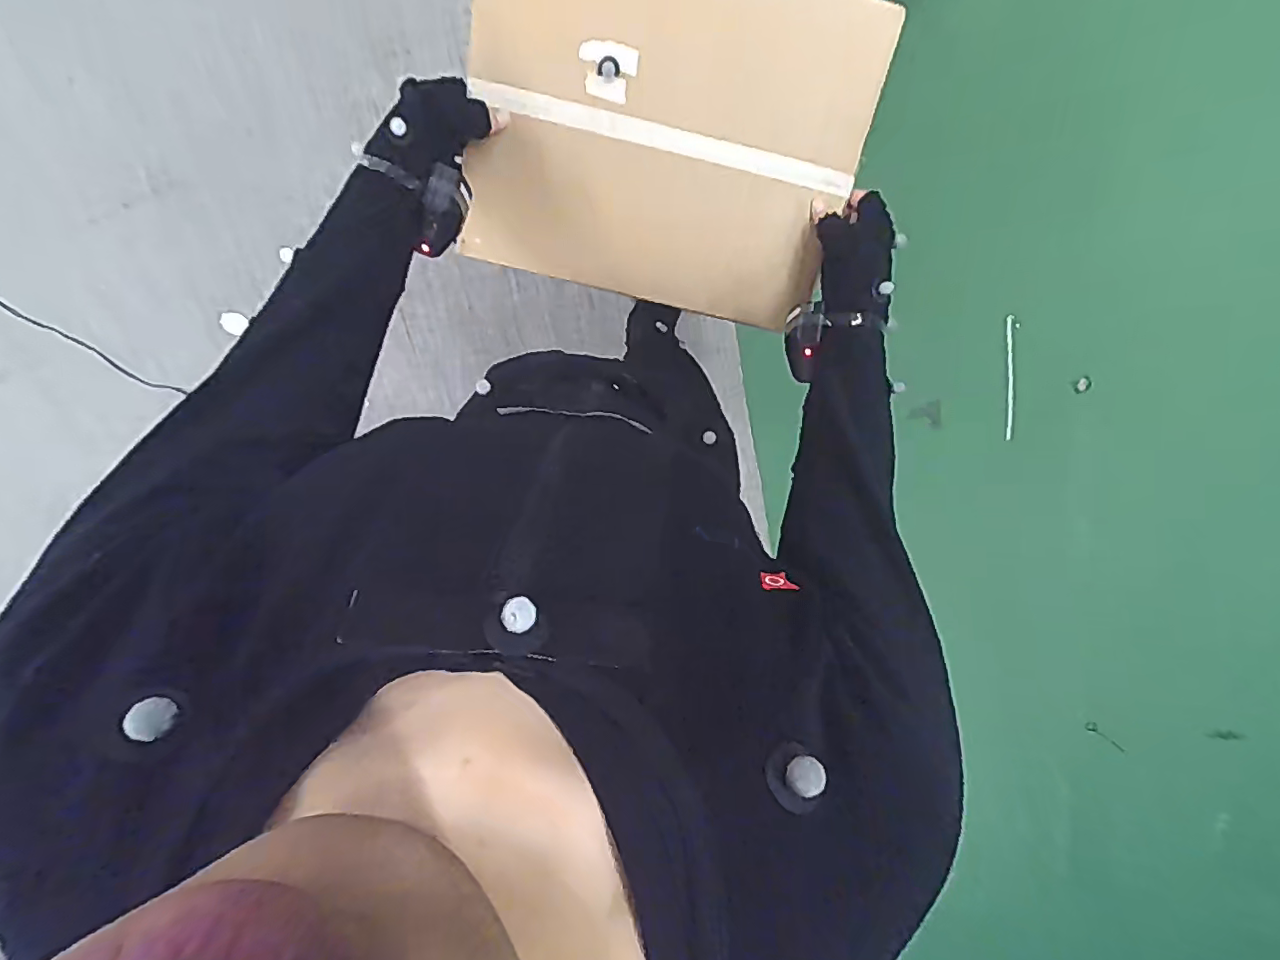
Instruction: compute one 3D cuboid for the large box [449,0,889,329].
[{"bbox_3d":[0.019,-0.410,0.693,0.408,0.320,0.320,13,112,-3],"label":"large box"}]
